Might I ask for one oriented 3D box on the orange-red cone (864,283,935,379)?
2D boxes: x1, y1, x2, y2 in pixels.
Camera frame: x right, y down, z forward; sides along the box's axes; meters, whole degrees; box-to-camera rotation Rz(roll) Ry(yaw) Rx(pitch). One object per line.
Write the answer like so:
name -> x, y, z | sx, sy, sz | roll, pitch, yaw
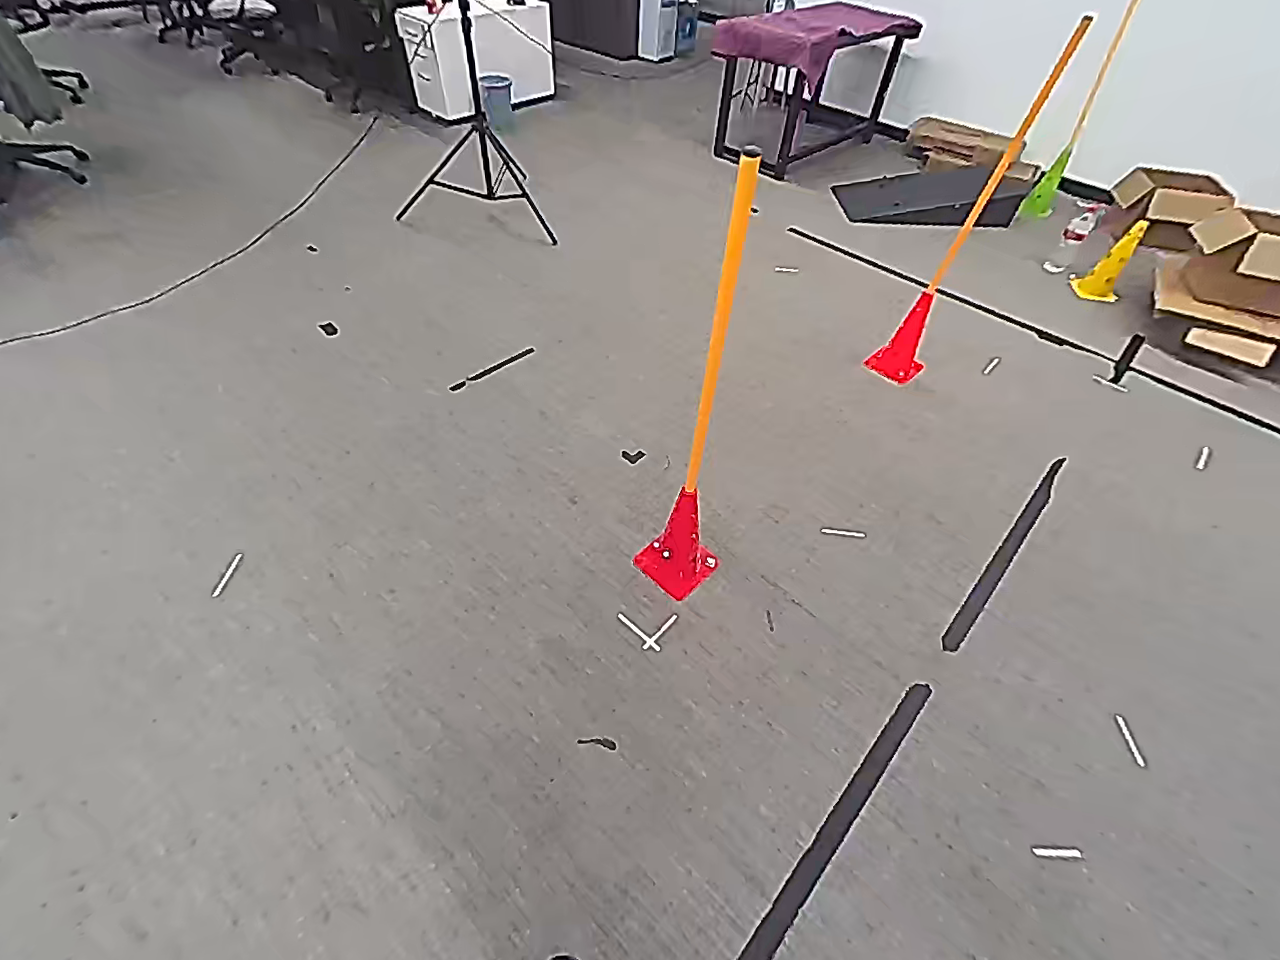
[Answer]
orange-red cone -> 1.097, -0.627, 2.192 | 0.199, 0.360, 0.198 | -34, 60, -28
